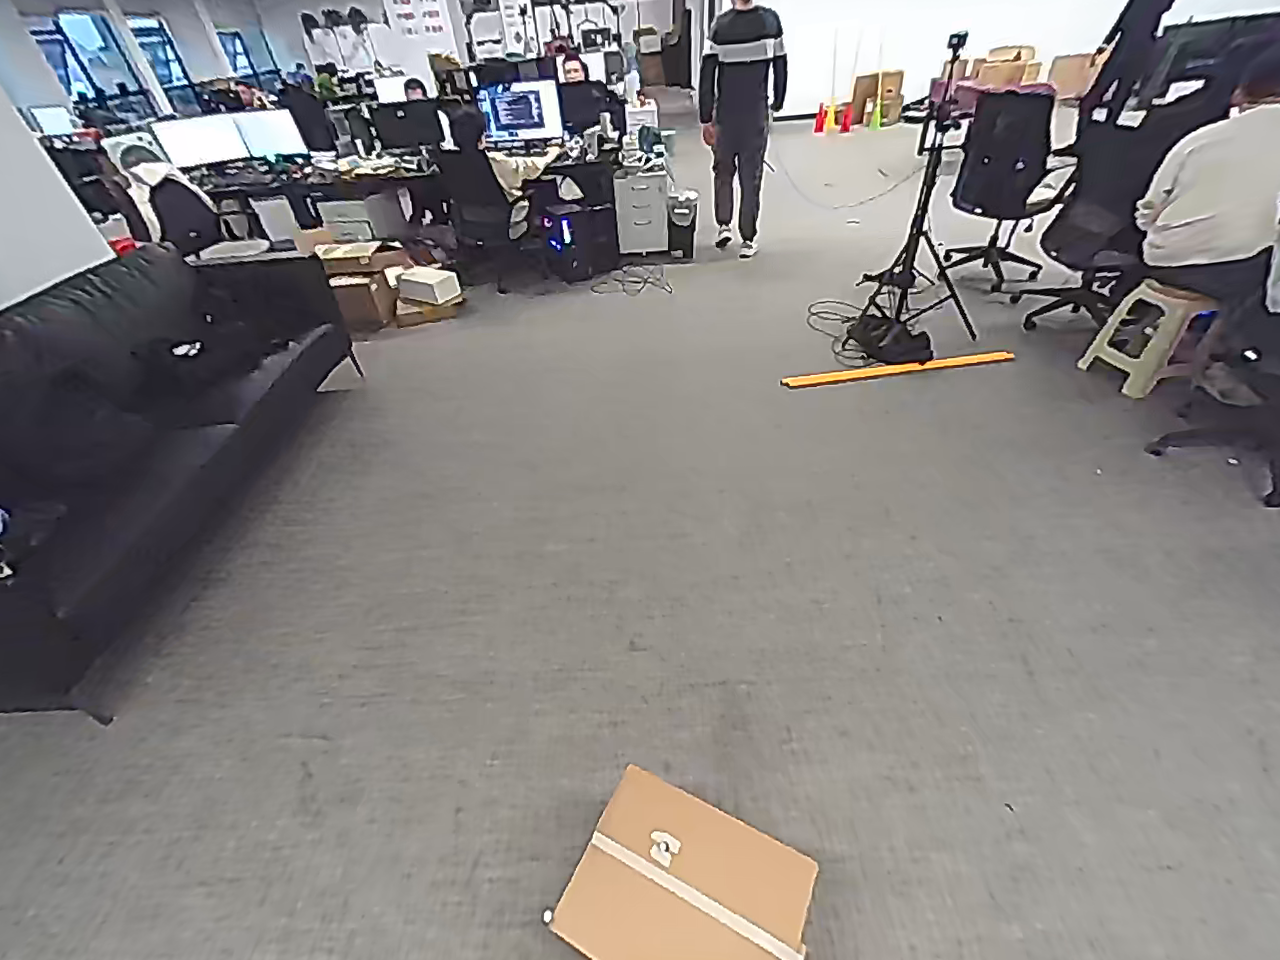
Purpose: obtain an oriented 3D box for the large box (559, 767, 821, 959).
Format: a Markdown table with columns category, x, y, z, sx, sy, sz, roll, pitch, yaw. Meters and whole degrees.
| category | x | y | z | sx | sy | sz | roll | pitch | yaw |
| --- | --- | --- | --- | --- | --- | --- | --- | --- | --- |
| large box | 0.113 | 0.865 | 1.083 | 0.408 | 0.320 | 0.320 | 15 | 45 | 25 |
